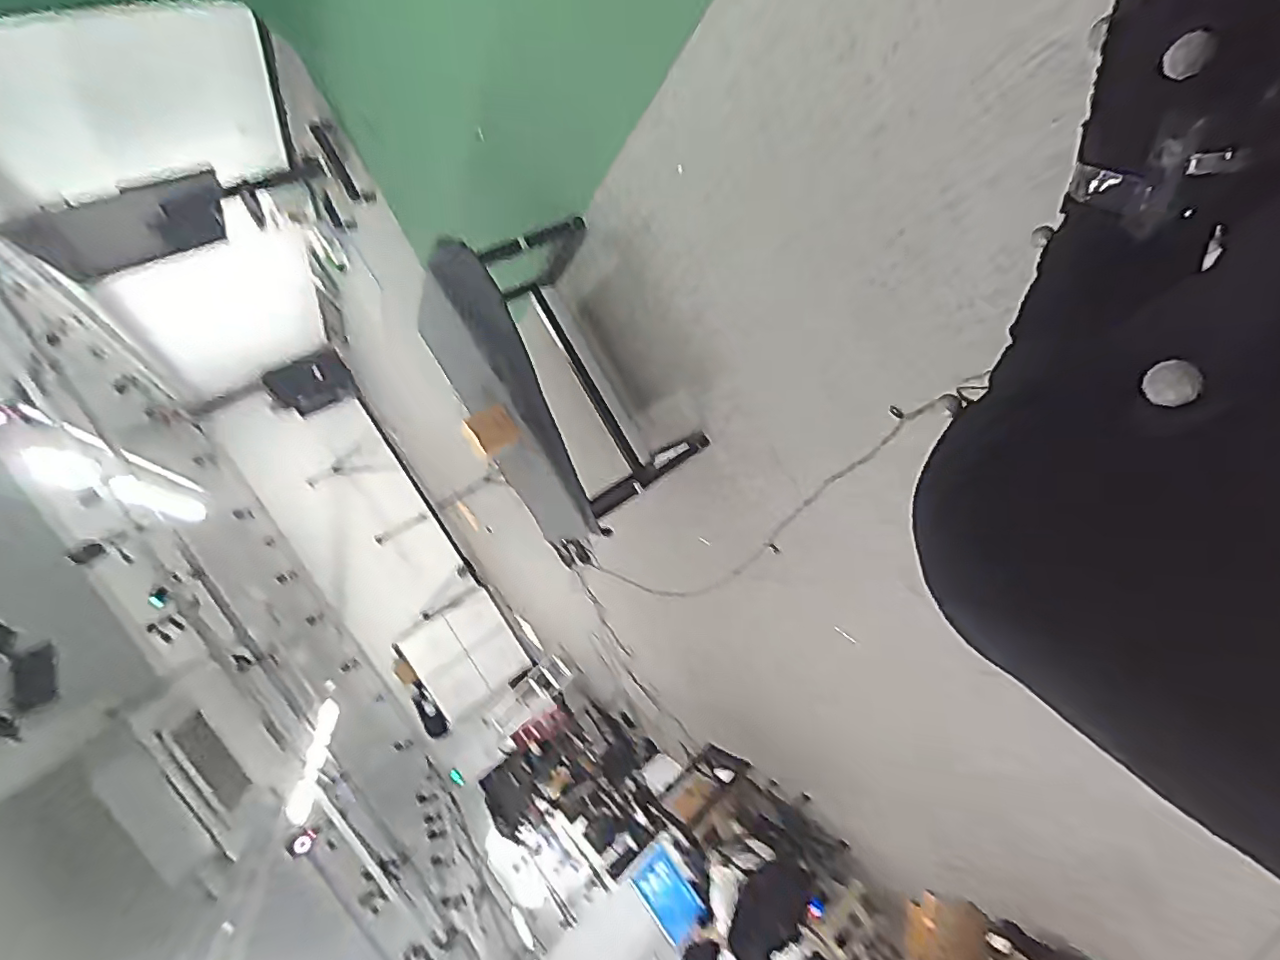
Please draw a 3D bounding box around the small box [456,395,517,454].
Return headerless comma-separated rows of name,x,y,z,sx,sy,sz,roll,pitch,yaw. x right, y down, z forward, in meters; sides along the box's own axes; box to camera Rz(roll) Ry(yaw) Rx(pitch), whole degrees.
small box,-0.633,-0.230,2.238,0.168,0.176,0.179,59,153,-7
